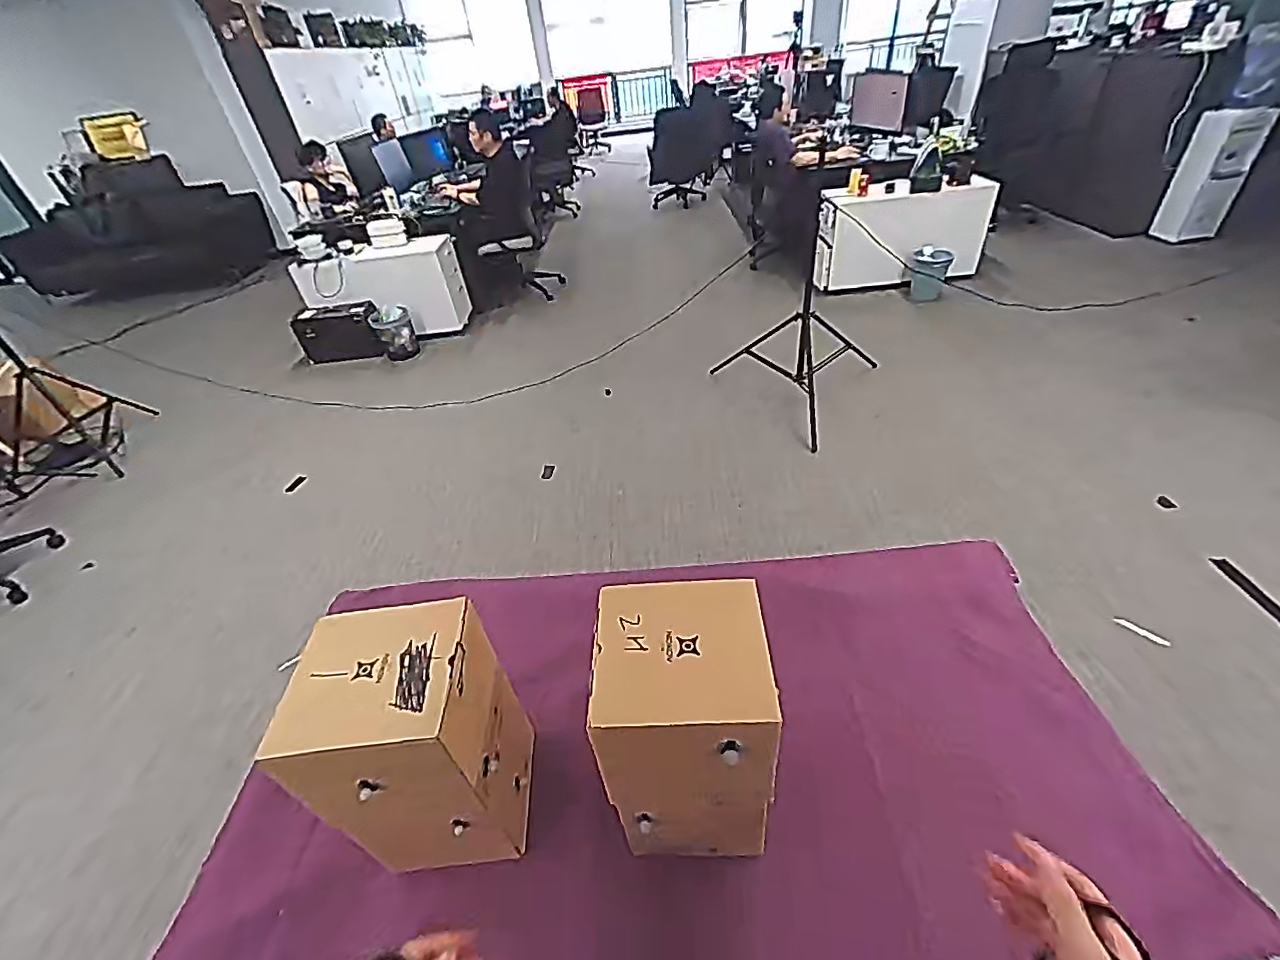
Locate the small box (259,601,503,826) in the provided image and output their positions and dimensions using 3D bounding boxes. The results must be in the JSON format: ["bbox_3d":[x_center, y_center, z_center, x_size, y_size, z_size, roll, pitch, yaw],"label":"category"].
[{"bbox_3d":[-0.264,0.261,0.609,0.179,0.176,0.168,-8,38,0],"label":"small box"}]

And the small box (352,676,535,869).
[{"bbox_3d":[-0.249,0.387,0.714,0.179,0.176,0.168,-7,38,0],"label":"small box"}]

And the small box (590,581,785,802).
[{"bbox_3d":[0.051,0.230,0.591,0.179,0.176,0.168,-4,38,5],"label":"small box"}]
